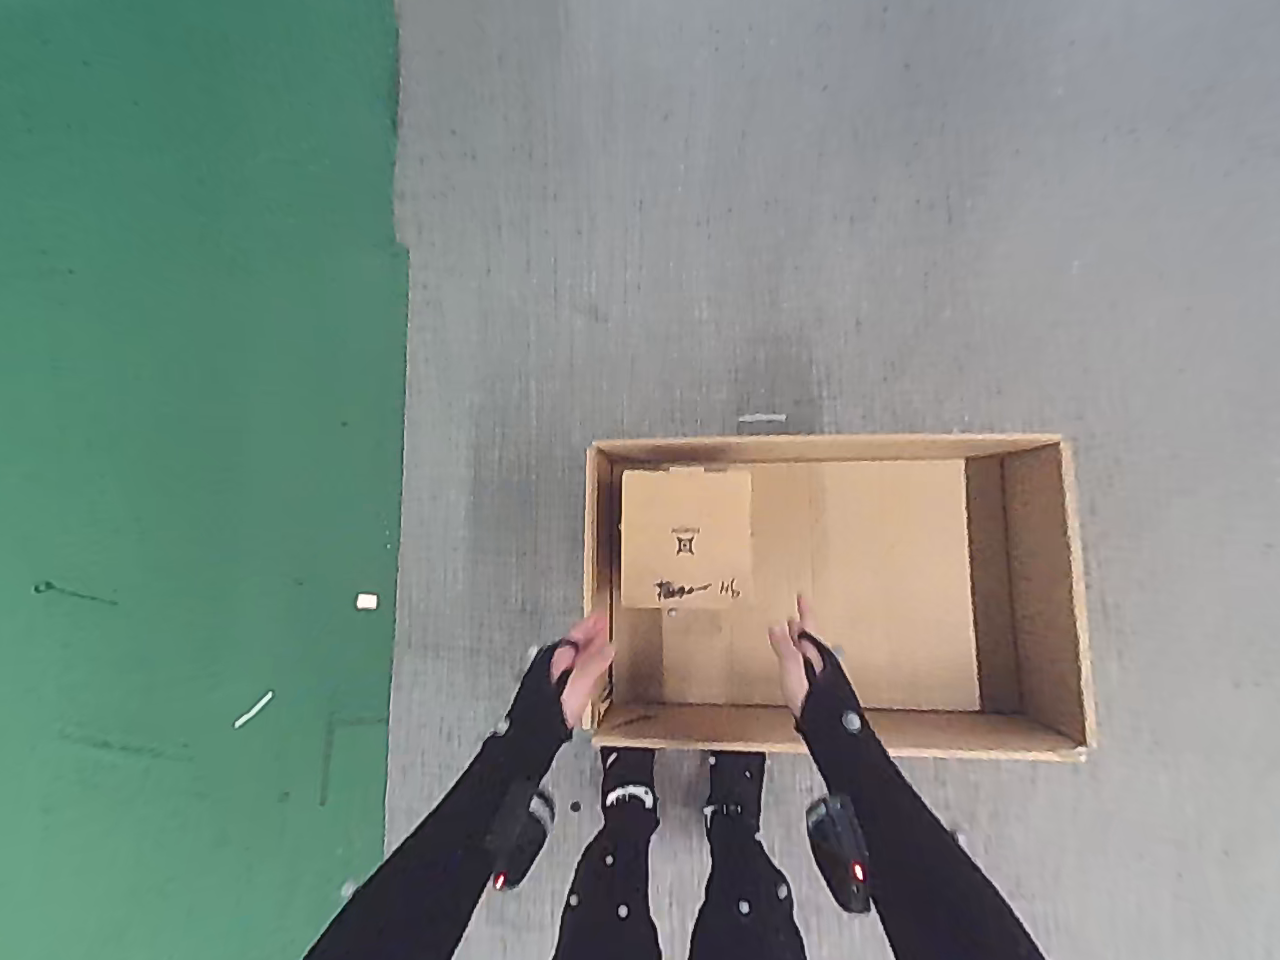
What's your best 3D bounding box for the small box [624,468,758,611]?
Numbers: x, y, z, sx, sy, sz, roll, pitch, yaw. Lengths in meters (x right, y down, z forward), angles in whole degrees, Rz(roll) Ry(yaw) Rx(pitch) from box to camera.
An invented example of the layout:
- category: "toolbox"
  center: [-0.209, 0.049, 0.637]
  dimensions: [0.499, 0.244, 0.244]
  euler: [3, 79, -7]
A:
- category: "small box"
  center: [0.070, 0.083, 0.759]
  dimensions: [0.168, 0.176, 0.179]
  euler: [1, 83, 5]
